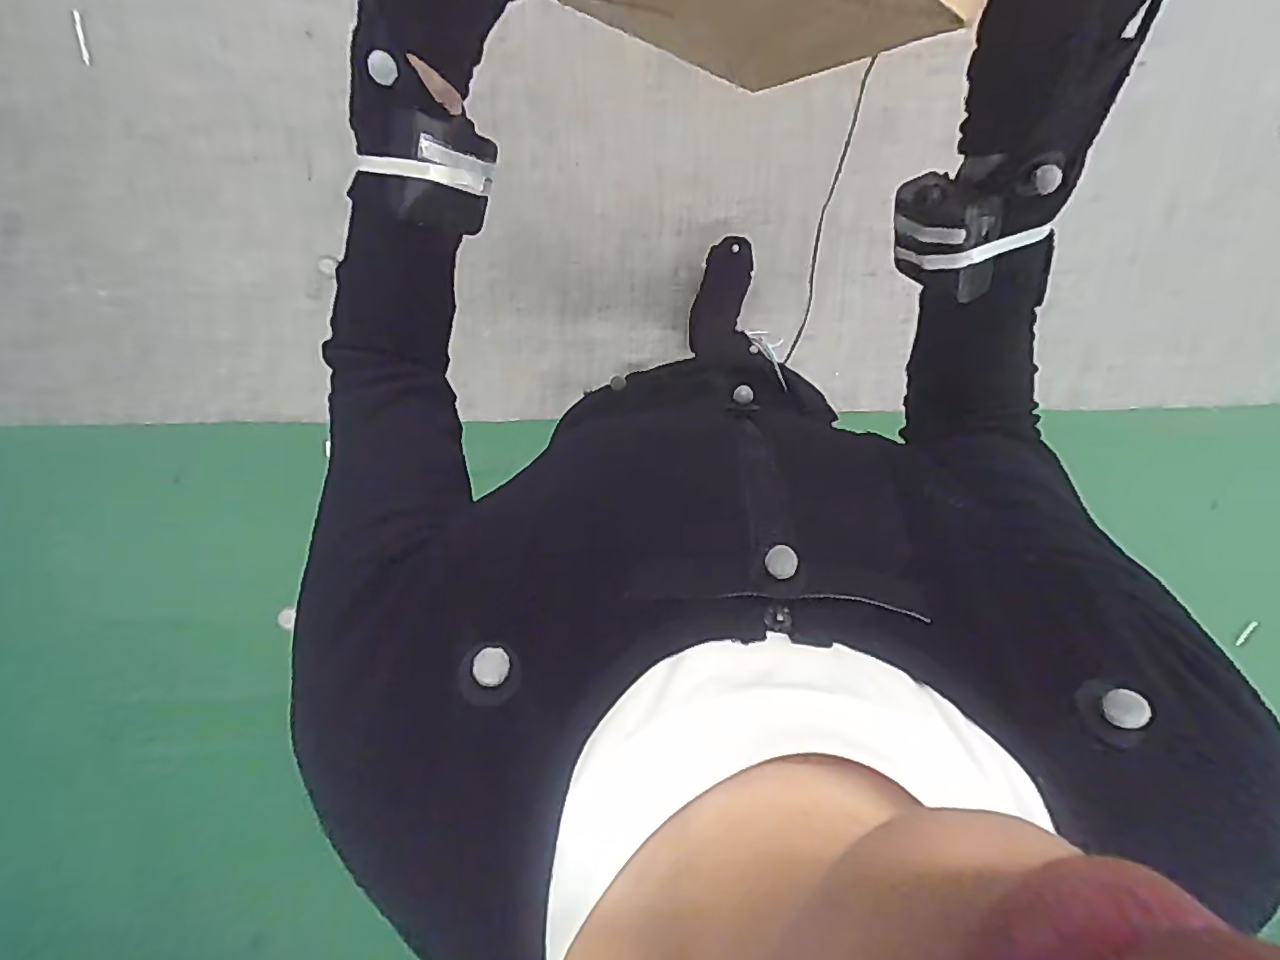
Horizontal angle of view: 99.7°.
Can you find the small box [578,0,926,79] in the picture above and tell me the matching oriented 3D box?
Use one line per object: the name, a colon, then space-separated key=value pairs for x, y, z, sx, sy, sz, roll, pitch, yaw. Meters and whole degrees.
small box: x=0.057 y=-0.323 z=0.250 sx=0.179 sy=0.168 sz=0.176 roll=1 pitch=110 yaw=-31
